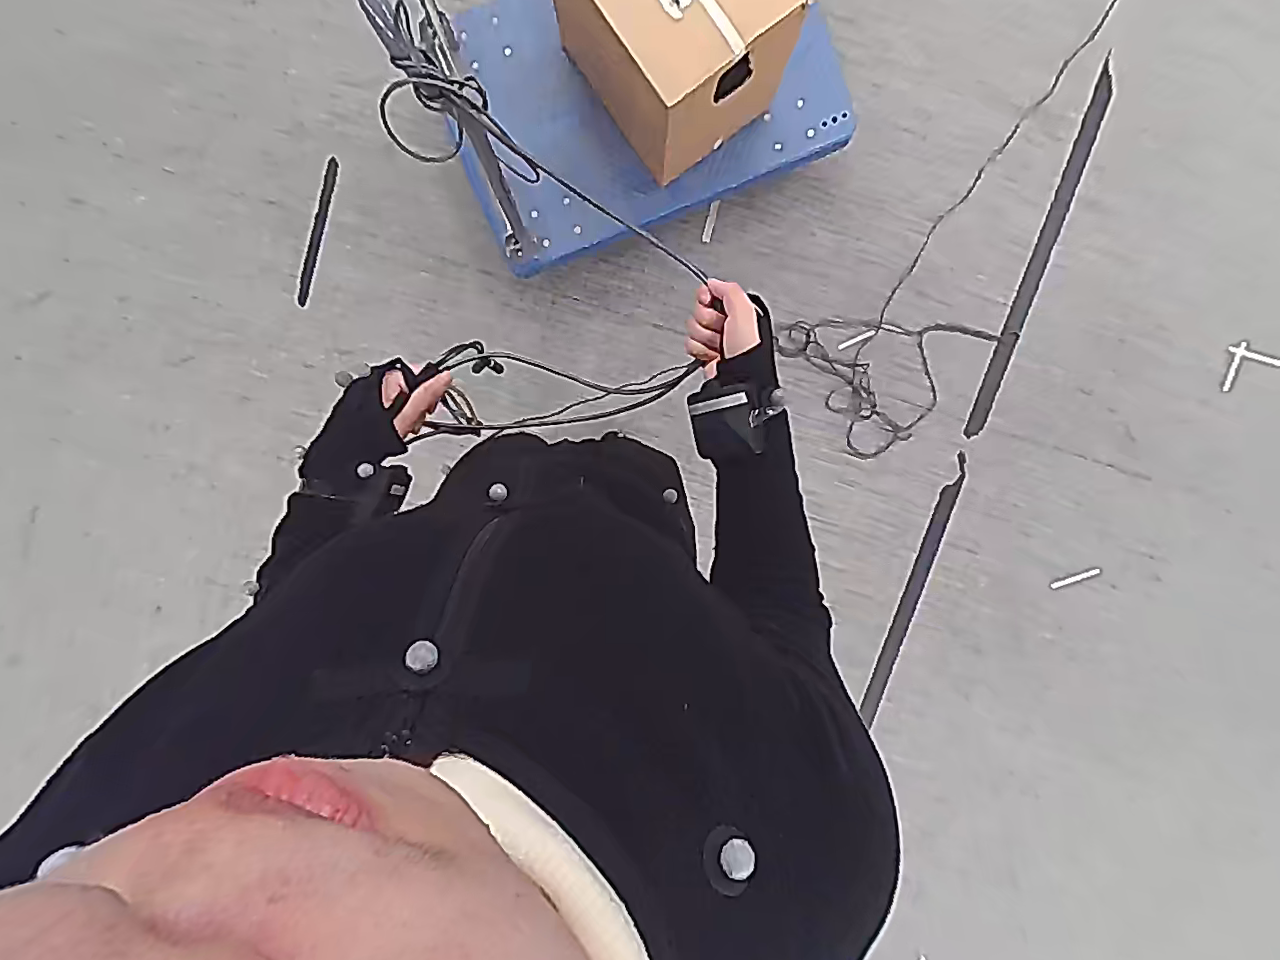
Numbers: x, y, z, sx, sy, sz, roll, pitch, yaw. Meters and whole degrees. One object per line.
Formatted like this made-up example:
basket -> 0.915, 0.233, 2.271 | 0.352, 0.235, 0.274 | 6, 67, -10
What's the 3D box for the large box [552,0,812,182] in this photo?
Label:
large box -> 0.057, -0.912, 1.074 | 0.320, 0.320, 0.408 | -36, 95, 4
